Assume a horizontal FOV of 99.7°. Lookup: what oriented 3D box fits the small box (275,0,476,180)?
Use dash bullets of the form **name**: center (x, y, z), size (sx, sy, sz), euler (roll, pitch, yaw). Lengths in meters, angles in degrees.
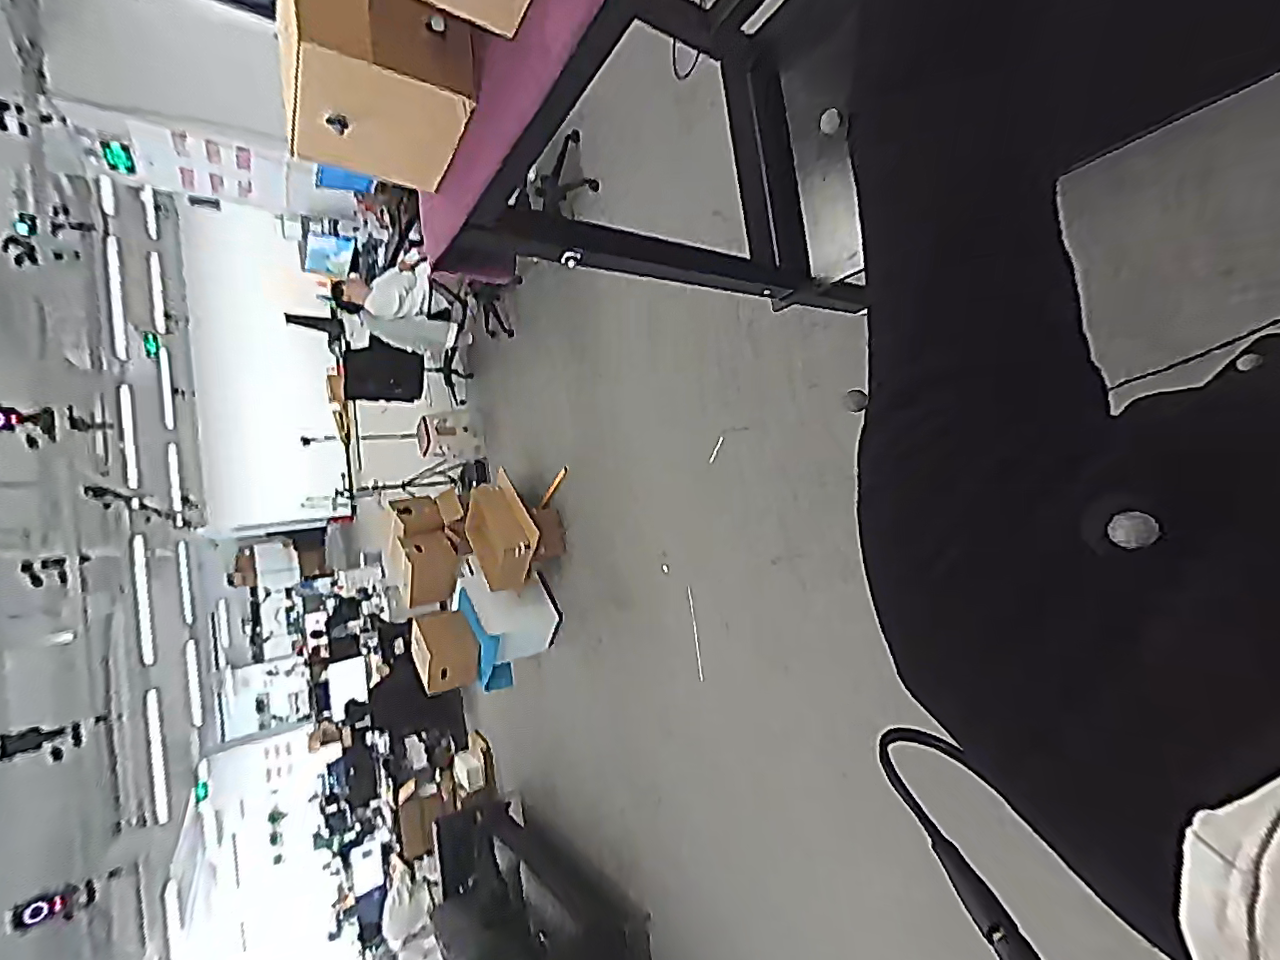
- **small box**: center (-0.294, -0.468, 0.596), size (0.179, 0.176, 0.168), euler (-13, 84, 53)
